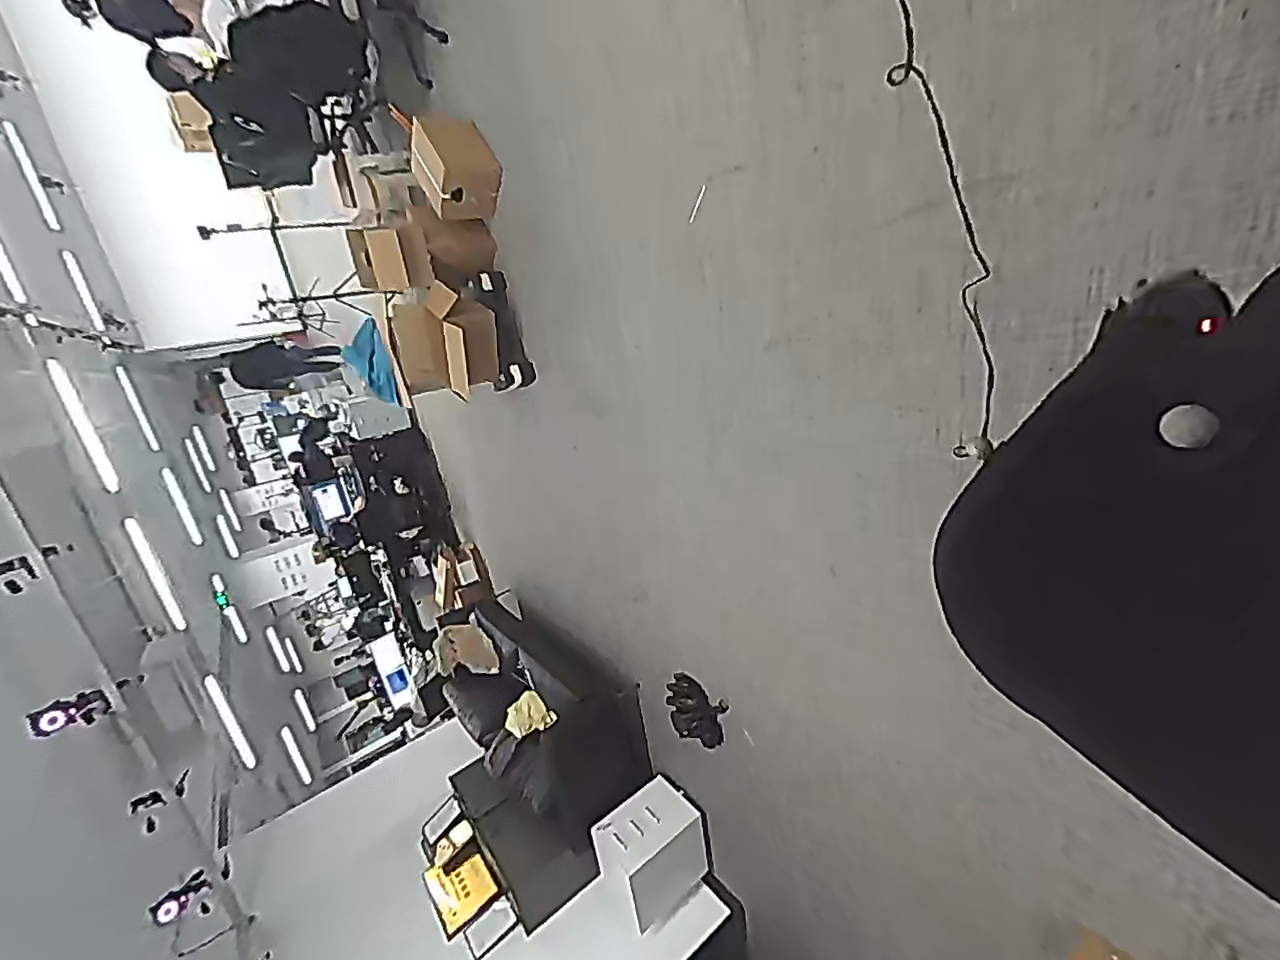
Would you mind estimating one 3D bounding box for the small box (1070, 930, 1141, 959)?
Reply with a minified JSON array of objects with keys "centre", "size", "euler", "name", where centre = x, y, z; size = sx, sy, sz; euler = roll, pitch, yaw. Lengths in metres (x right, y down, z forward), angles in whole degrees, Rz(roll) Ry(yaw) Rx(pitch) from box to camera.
[{"centre":[1.314,1.415,1.506],"size":[0.179,0.176,0.168],"euler":[21,125,50],"name":"small box"}]
